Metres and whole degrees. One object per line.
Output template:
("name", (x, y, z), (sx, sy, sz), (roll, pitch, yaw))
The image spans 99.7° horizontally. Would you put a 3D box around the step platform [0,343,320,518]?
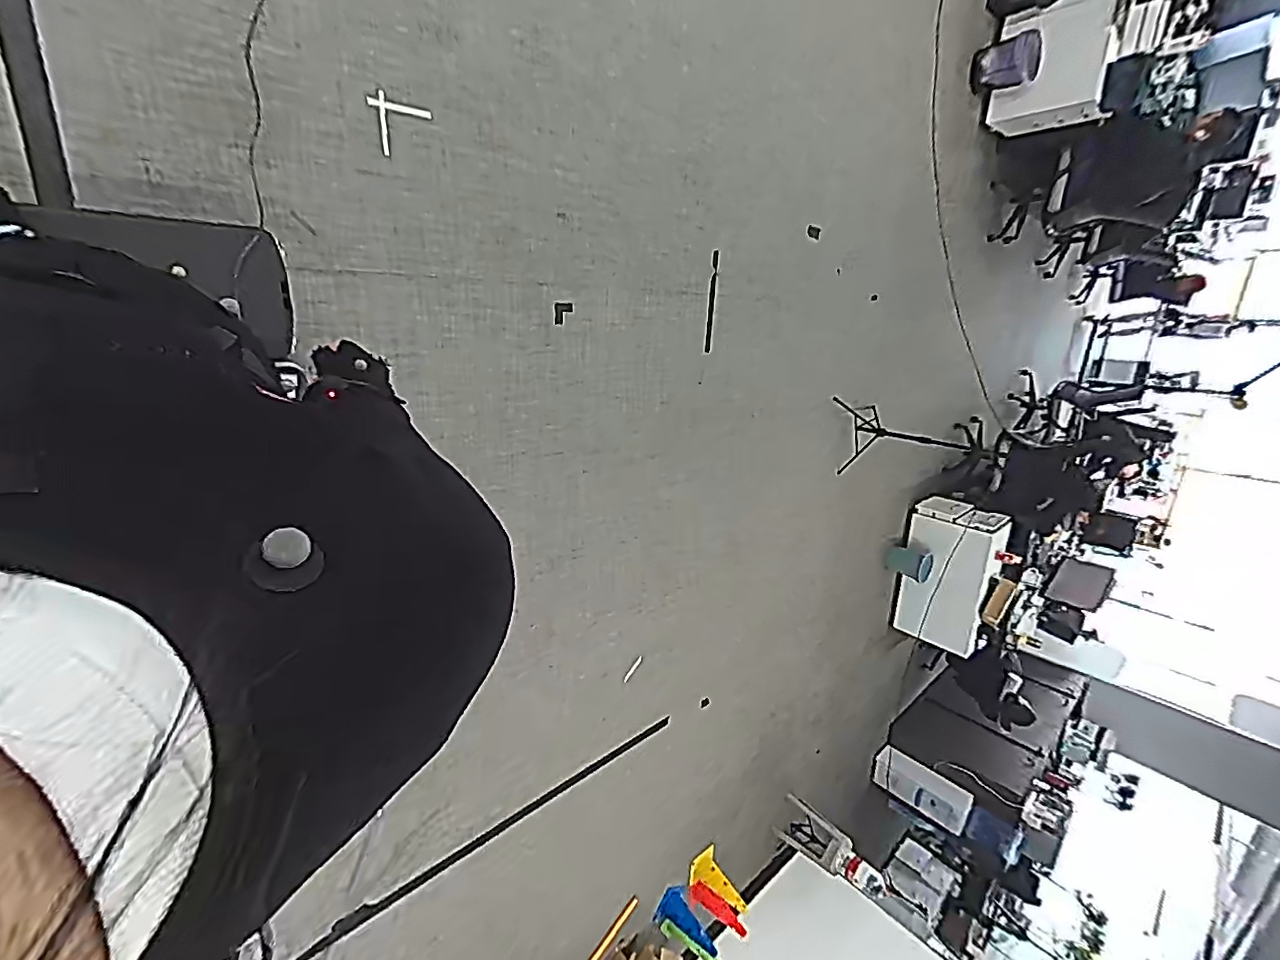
("step platform", (-1.028, -0.114, 1.067), (0.684, 0.204, 0.286), (-13, 112, -39))
